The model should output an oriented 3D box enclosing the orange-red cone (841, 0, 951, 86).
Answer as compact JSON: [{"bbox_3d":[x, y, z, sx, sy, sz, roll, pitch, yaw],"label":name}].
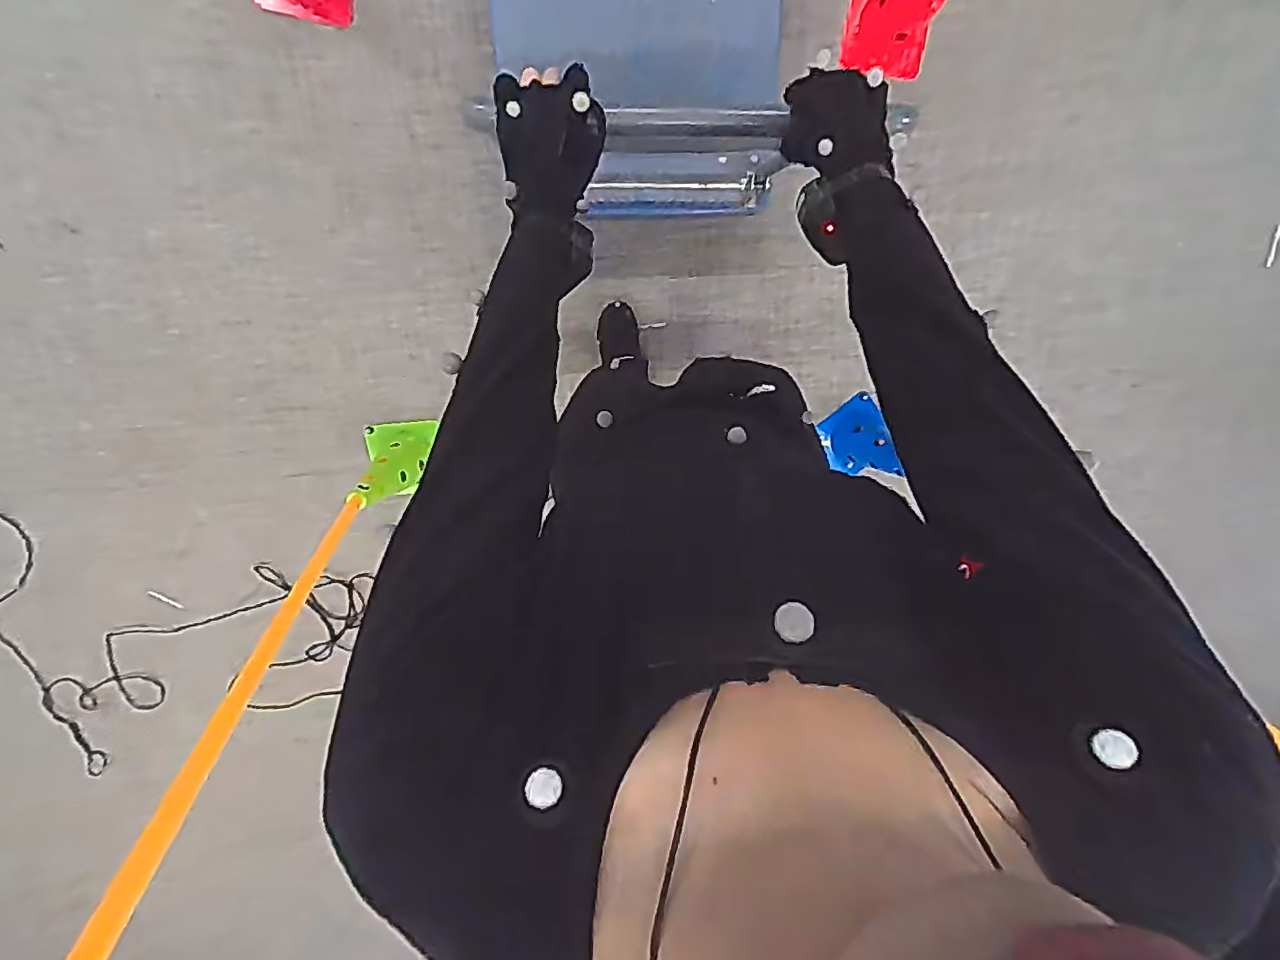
[{"bbox_3d":[0.590,-0.992,1.094,0.198,0.360,0.199,6,107,-6],"label":"orange-red cone"}]
